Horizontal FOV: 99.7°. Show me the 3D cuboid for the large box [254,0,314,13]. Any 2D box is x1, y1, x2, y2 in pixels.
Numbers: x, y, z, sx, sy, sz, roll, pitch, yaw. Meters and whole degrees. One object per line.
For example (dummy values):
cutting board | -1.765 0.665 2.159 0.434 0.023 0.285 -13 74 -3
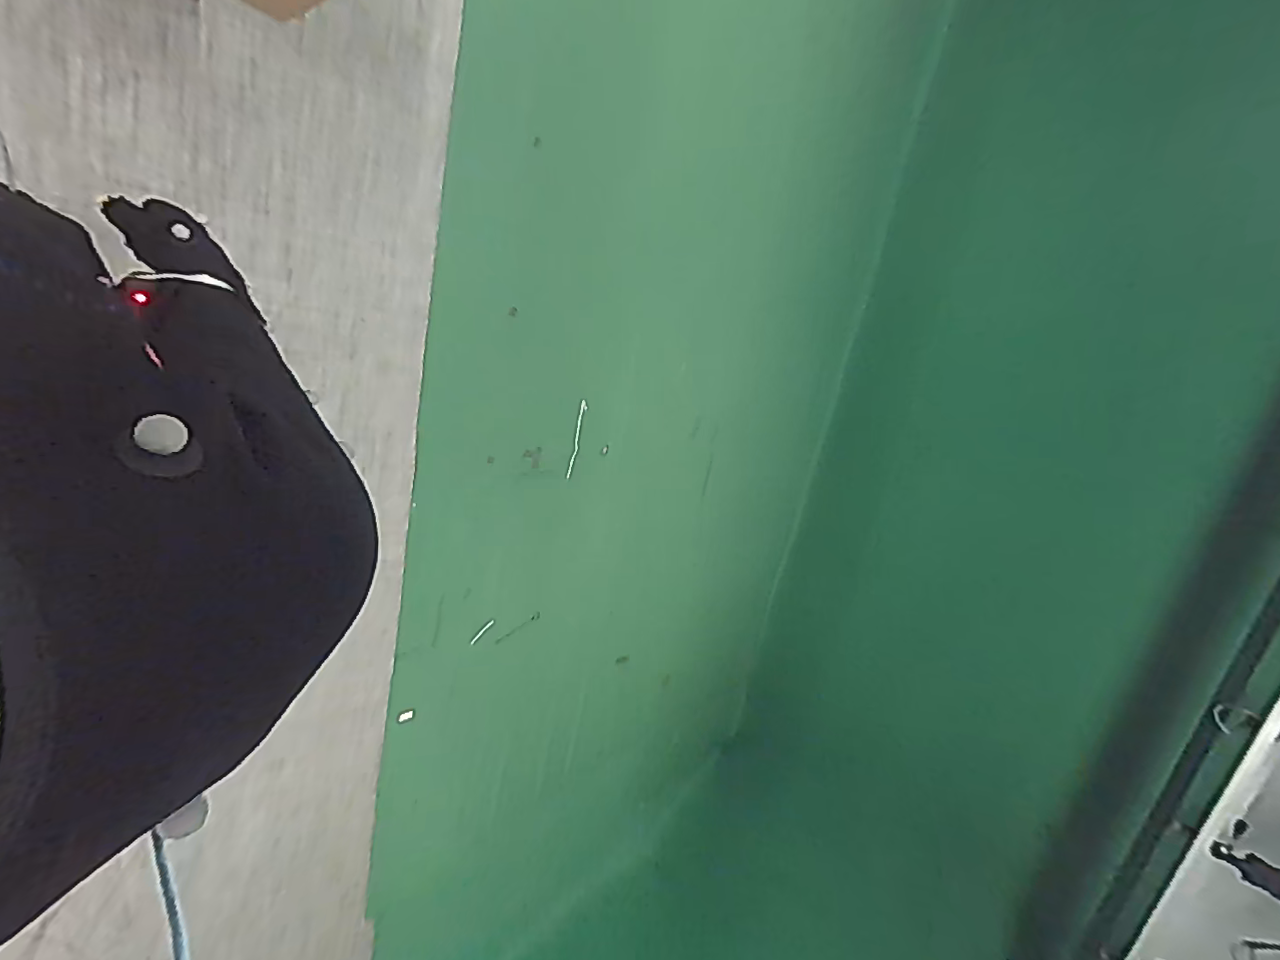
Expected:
large box | -0.643 -0.940 0.726 0.408 0.320 0.320 -3 111 -50
